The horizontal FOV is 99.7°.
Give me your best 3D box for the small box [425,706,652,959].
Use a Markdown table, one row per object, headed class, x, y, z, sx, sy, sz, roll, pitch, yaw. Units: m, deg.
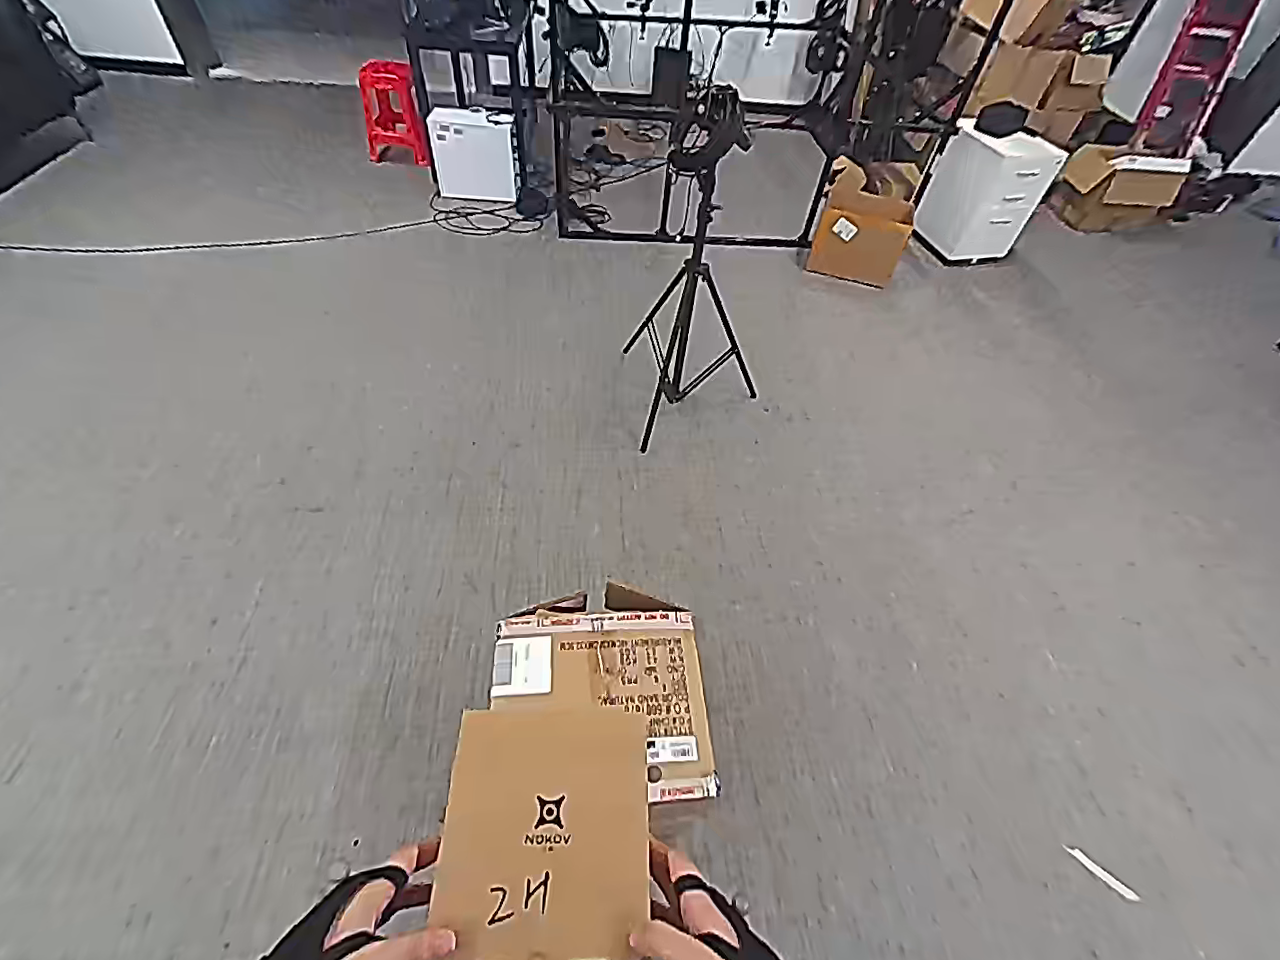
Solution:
| class | x | y | z | sx | sy | sz | roll | pitch | yaw |
| --- | --- | --- | --- | --- | --- | --- | --- | --- | --- |
| small box | -0.080 | 0.325 | 0.501 | 0.168 | 0.176 | 0.179 | 3 | 52 | -5 |
